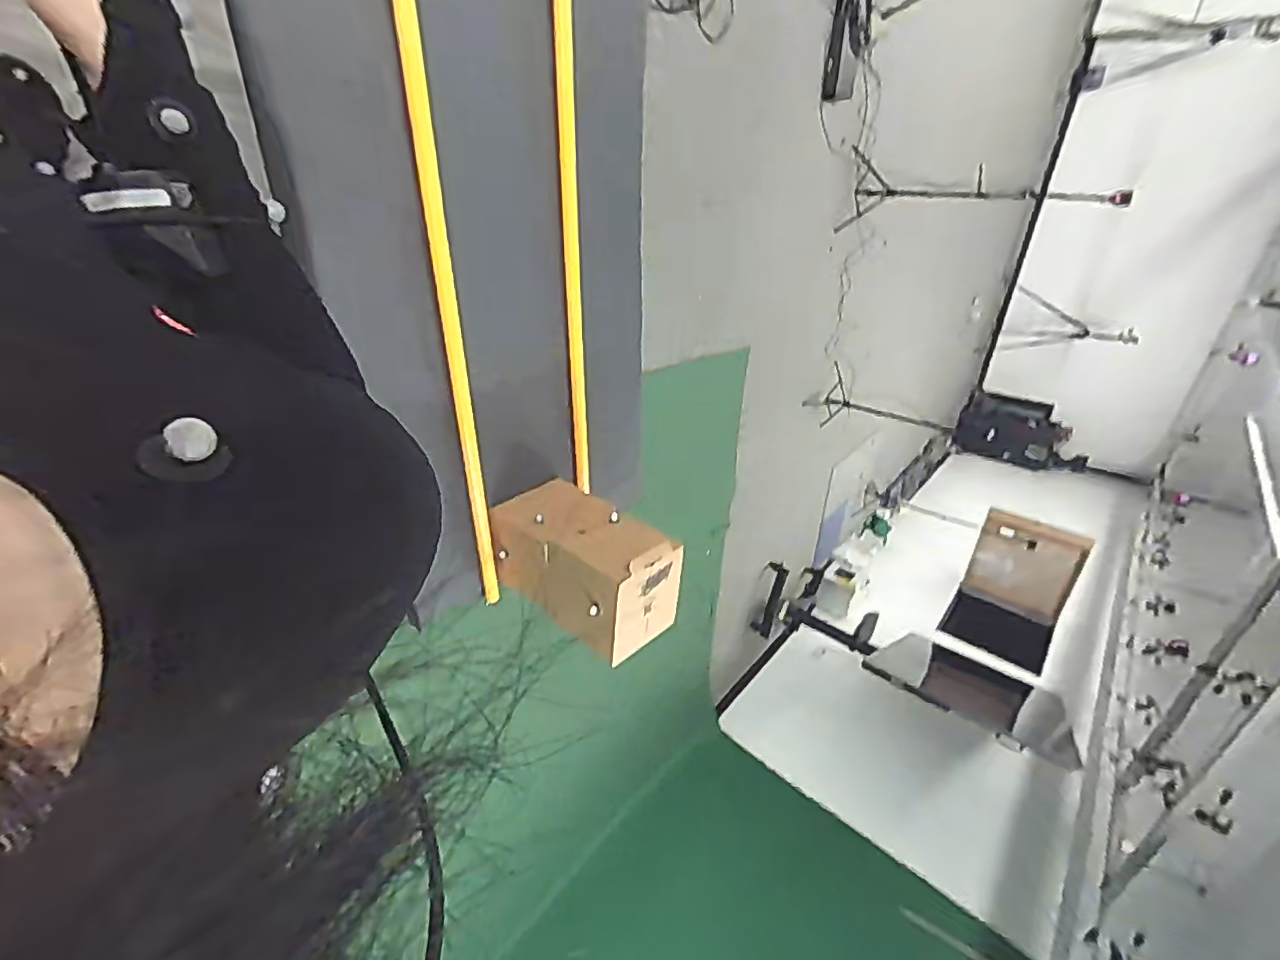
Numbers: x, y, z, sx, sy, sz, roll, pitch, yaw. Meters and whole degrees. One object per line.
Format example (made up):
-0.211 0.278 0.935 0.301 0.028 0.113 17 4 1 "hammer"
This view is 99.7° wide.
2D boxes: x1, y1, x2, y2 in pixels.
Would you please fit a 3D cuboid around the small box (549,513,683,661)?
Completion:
-0.046 0.174 0.954 0.168 0.176 0.179 -22 126 -44 "small box"
